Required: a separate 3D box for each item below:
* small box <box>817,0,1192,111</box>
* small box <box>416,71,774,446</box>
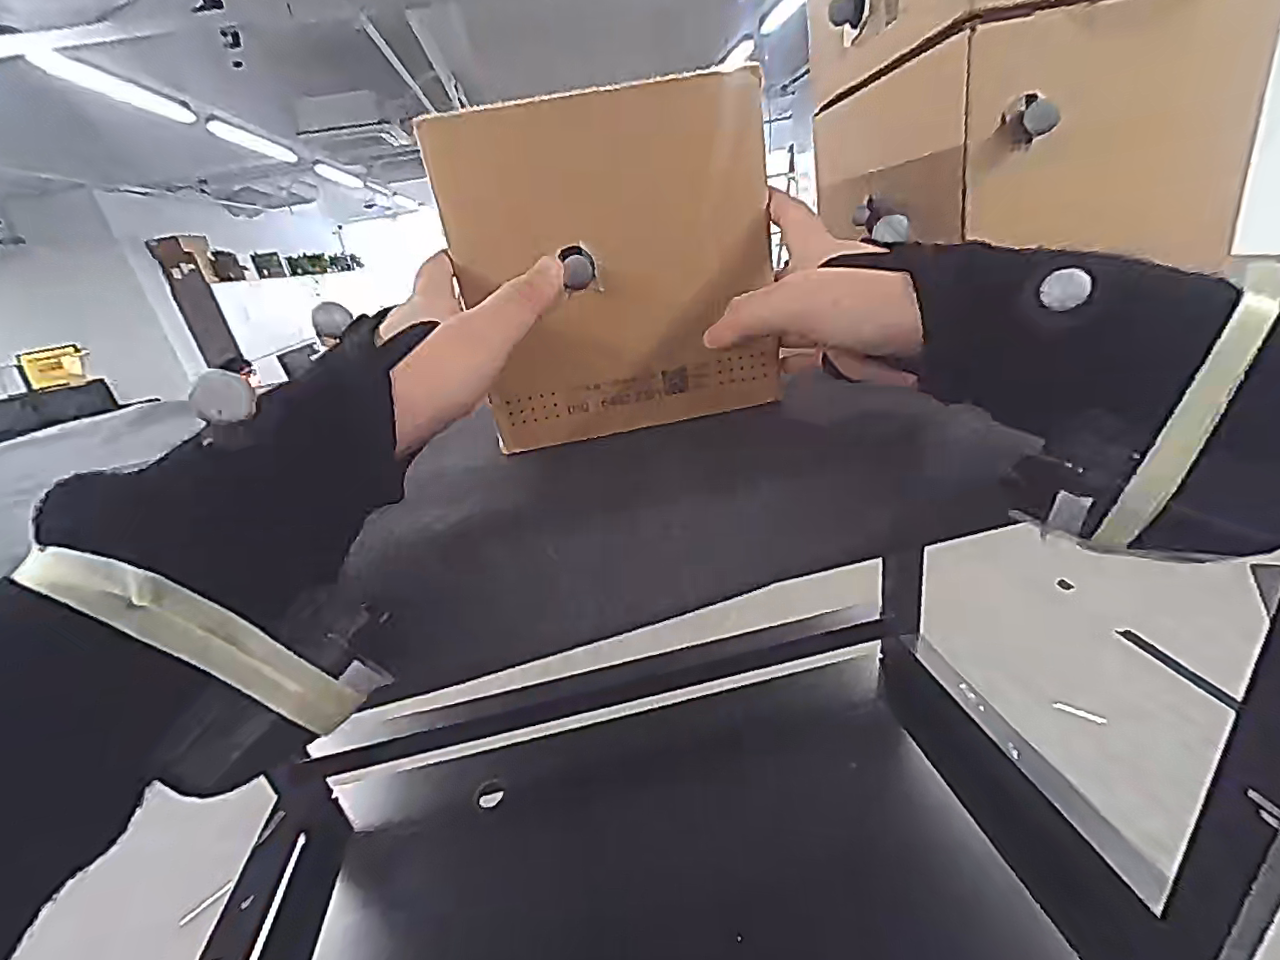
[{"bbox_3d":[0.205,-0.324,0.290,0.179,0.176,0.168,-13,21,-3],"label":"small box"},{"bbox_3d":[-0.020,-0.129,0.357,0.168,0.176,0.179,-12,22,-3],"label":"small box"}]
